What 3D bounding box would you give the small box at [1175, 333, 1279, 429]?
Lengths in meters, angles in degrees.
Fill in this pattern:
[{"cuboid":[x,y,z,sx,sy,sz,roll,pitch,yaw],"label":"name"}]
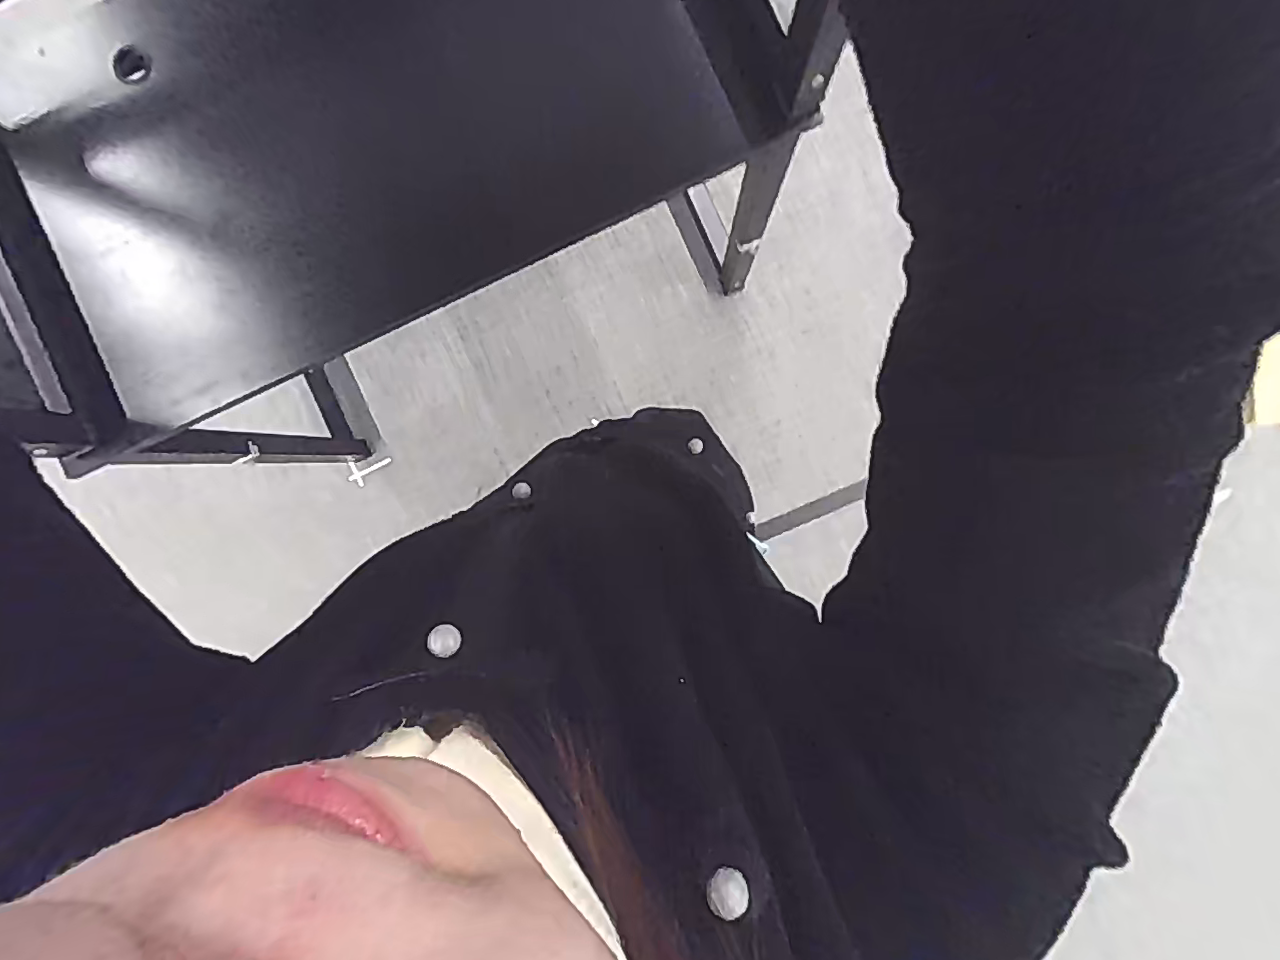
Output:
[{"cuboid":[1.302,-0.209,1.153,0.168,0.176,0.179,-7,91,4],"label":"small box"}]
